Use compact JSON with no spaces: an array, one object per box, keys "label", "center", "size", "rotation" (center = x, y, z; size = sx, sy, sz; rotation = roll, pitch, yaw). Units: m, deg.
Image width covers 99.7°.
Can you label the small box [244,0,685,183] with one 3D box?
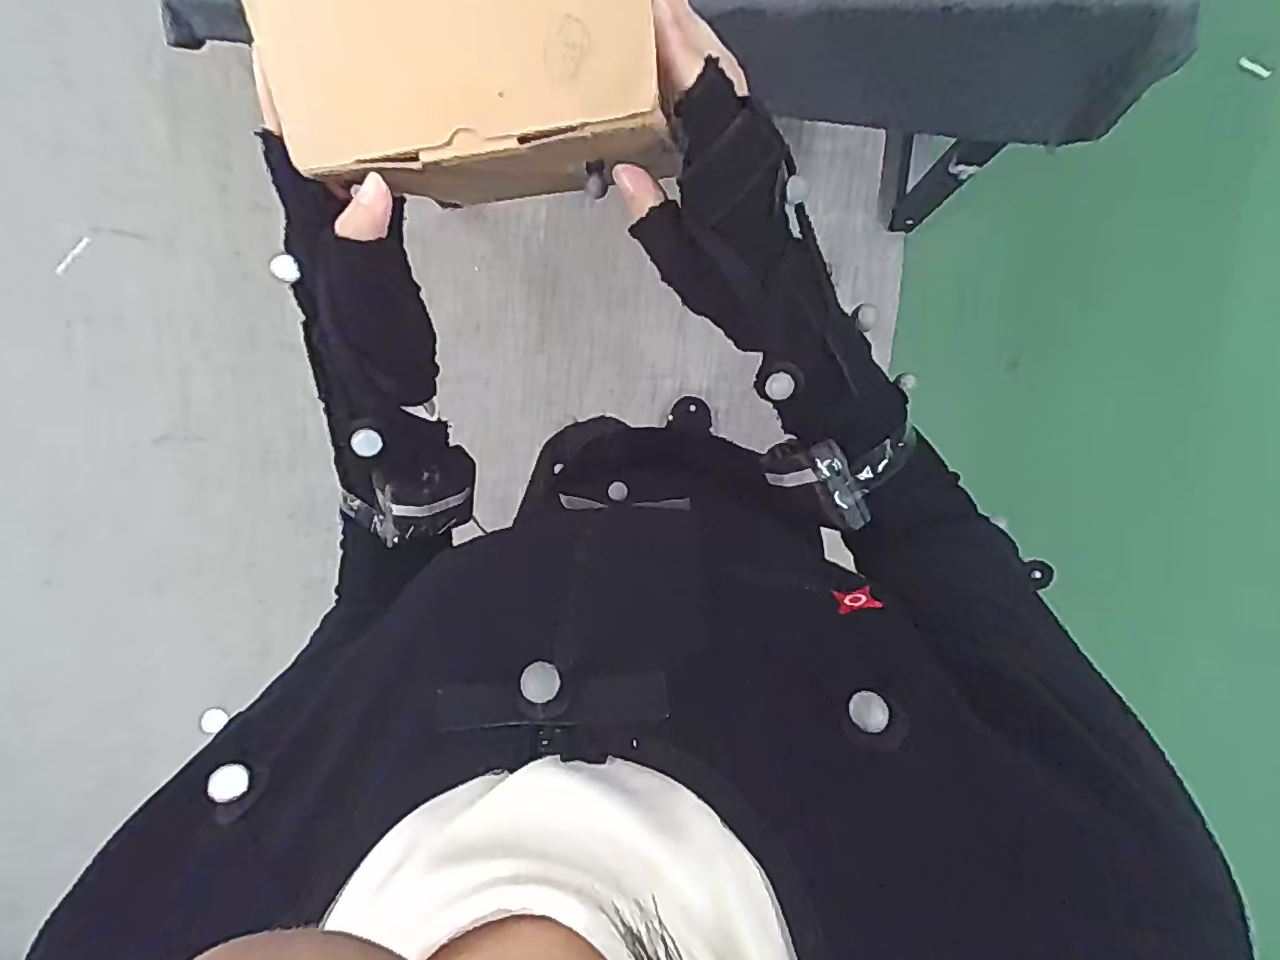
[{"label":"small box","center":[-0.071,-0.257,0.269],"size":[0.168,0.176,0.179],"rotation":[-2,112,11]}]
